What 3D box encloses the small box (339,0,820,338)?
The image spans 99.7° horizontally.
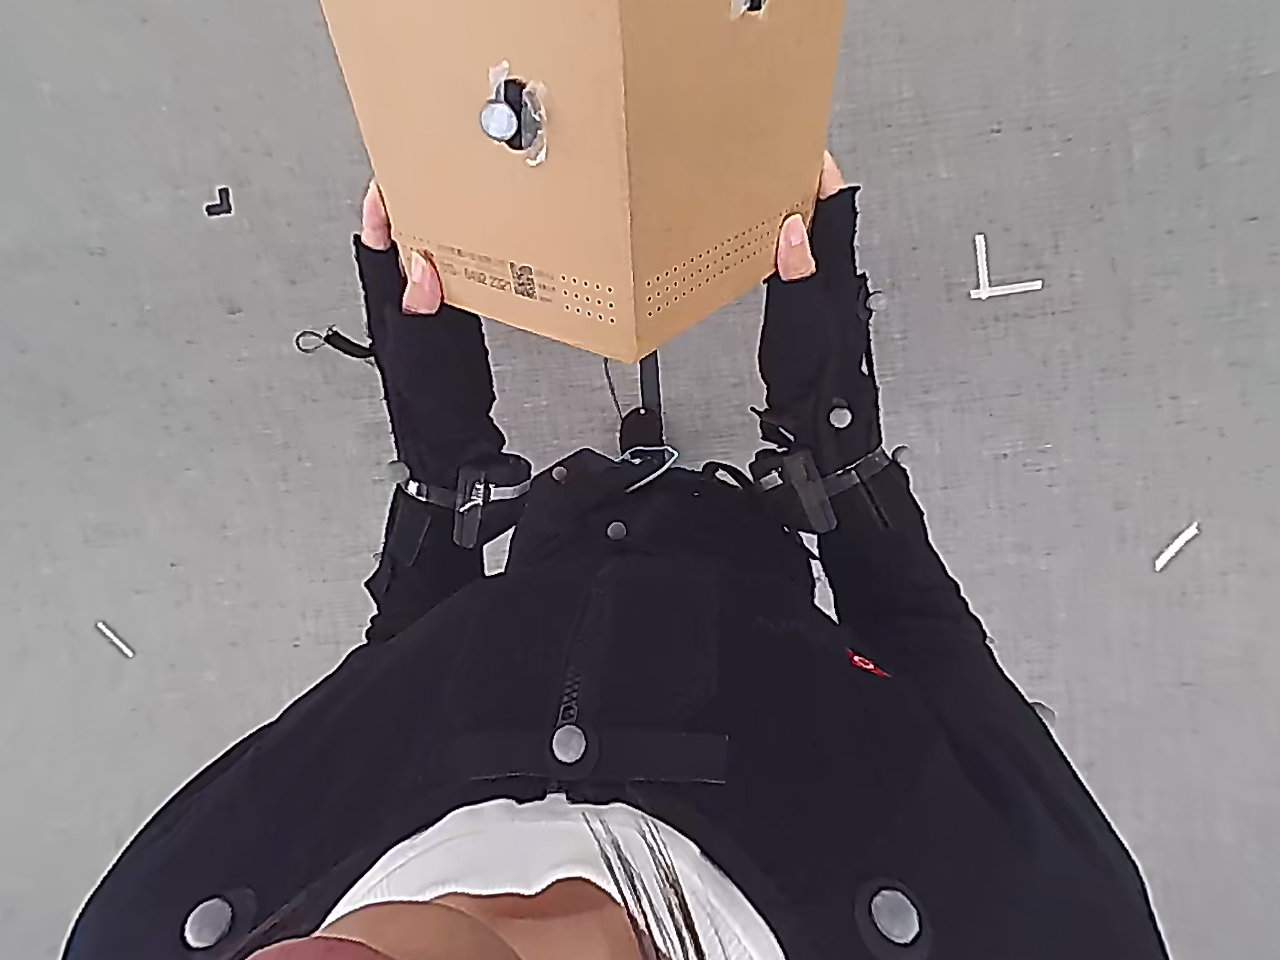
[{"bbox_3d":[-0.017,-0.194,0.285,0.168,0.179,0.176,26,138,30],"label":"small box"}]
